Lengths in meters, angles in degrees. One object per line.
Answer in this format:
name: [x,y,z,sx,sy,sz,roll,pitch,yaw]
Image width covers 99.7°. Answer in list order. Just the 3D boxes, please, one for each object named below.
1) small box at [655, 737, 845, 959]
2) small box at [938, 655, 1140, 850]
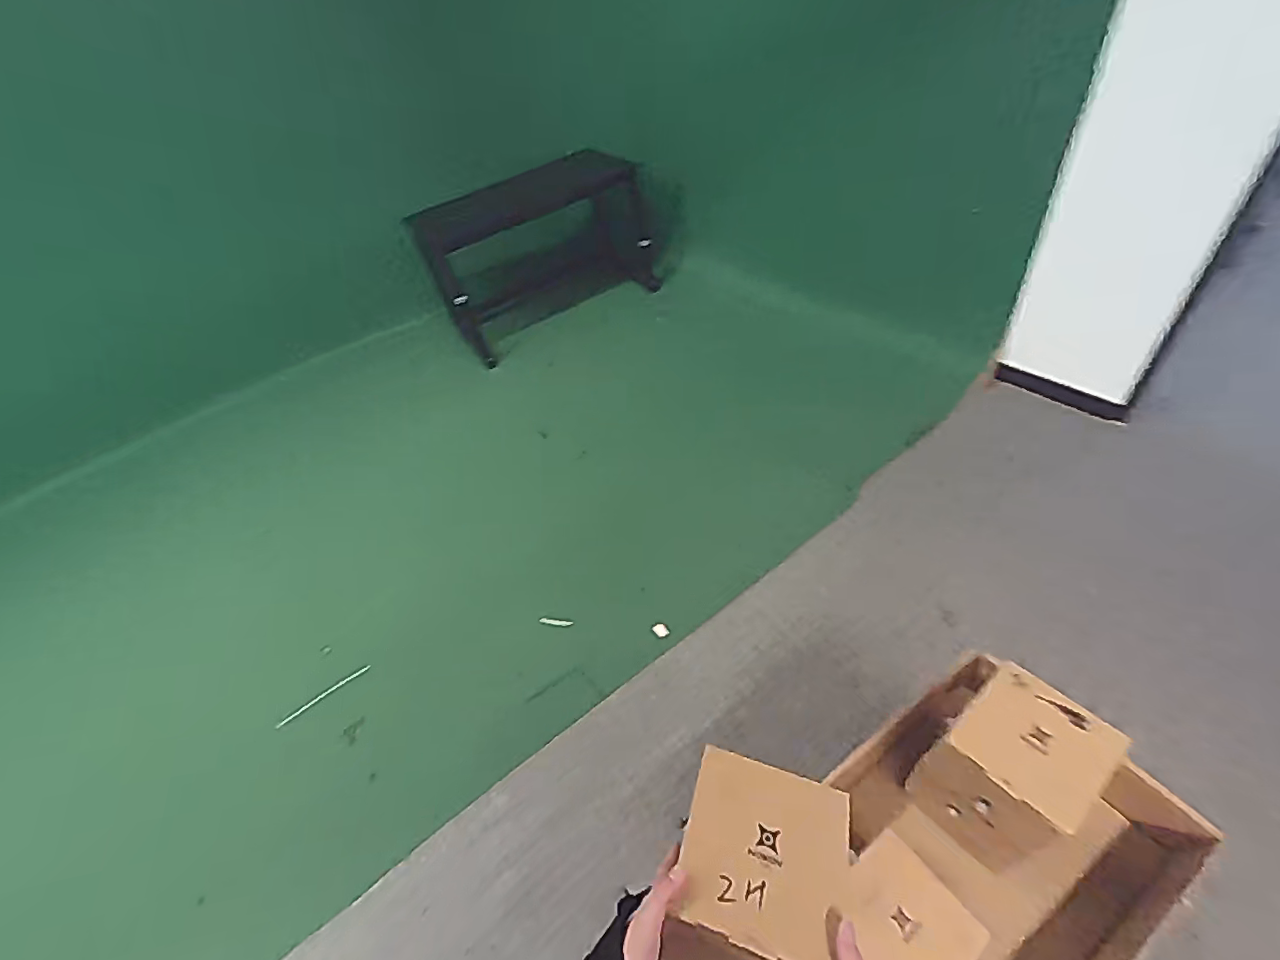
small box: [0.118,0.431,0.596,0.168,0.176,0.179,13,36,14]
small box: [0.572,0.406,0.802,0.179,0.176,0.168,-37,50,-18]
